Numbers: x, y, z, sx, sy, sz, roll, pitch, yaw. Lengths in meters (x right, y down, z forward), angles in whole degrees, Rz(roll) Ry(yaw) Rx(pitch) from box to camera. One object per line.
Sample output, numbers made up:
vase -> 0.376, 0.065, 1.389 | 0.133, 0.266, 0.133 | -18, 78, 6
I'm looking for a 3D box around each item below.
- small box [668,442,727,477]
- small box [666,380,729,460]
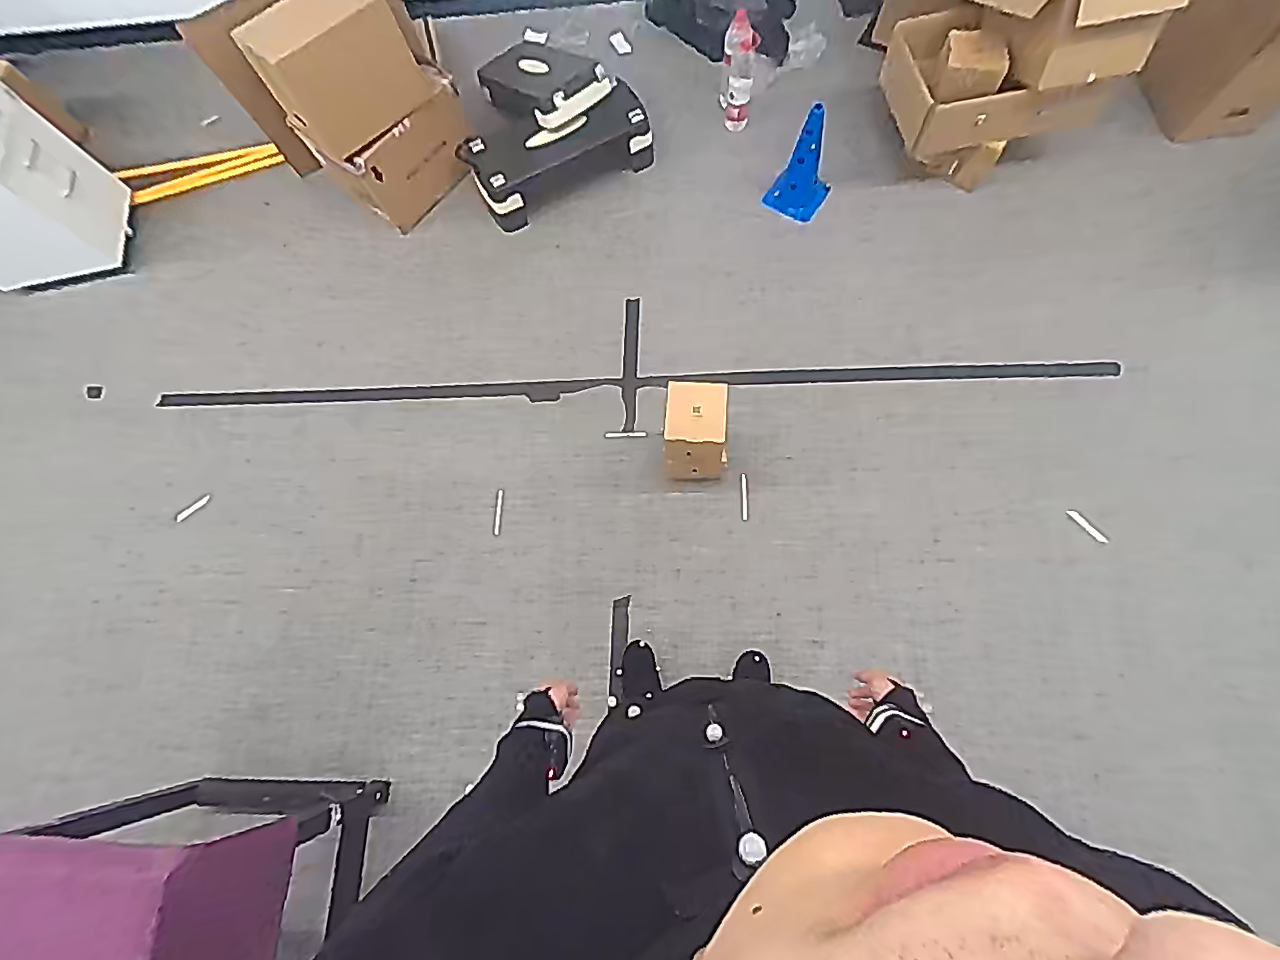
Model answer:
small box -> 0.178, -0.111, 1.707 | 0.179, 0.176, 0.168 | -1, 73, 5
small box -> 0.162, -0.169, 1.555 | 0.168, 0.176, 0.179 | 4, 75, 5
